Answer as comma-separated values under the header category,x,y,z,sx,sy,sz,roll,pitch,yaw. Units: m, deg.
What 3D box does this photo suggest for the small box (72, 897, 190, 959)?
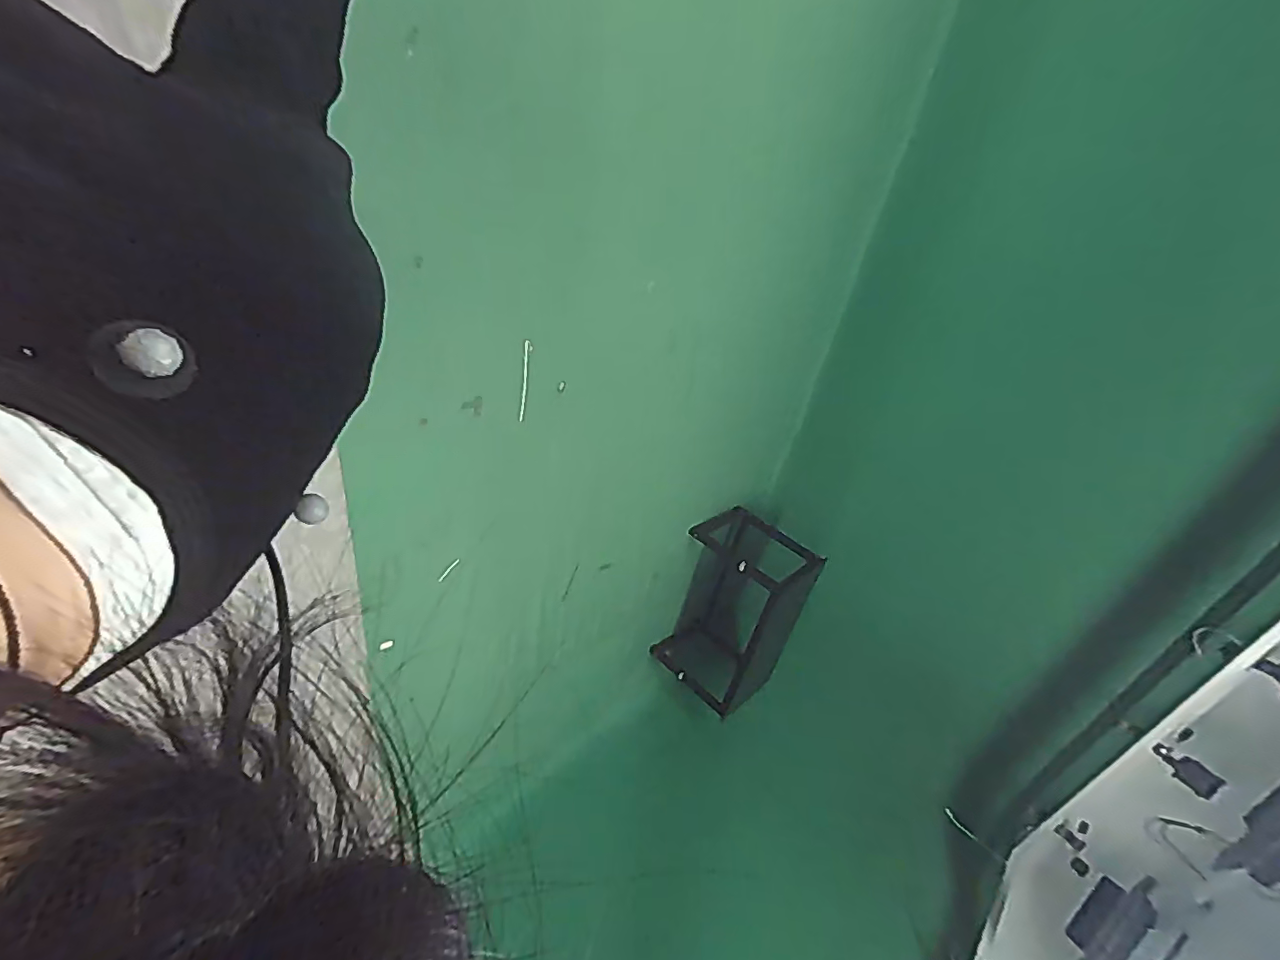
category,x,y,z,sx,sy,sz,roll,pitch,yaw
small box,-1.251,1.190,1.338,0.168,0.176,0.179,-26,138,-41
